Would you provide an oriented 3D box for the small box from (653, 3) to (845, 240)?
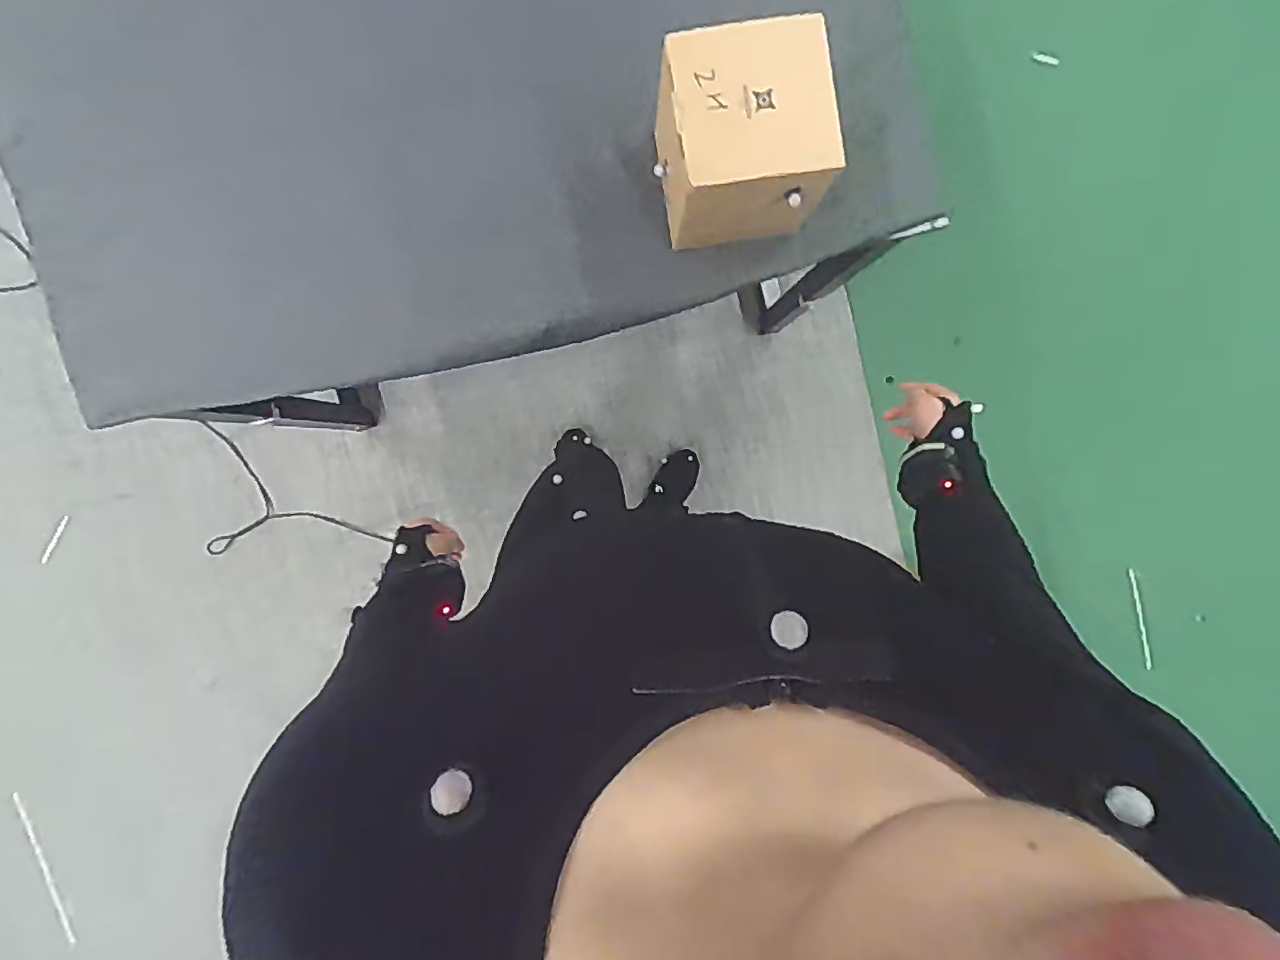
[{"bbox_3d":[0.117,-0.408,0.645,0.179,0.176,0.168,-9,92,-2],"label":"small box"}]
